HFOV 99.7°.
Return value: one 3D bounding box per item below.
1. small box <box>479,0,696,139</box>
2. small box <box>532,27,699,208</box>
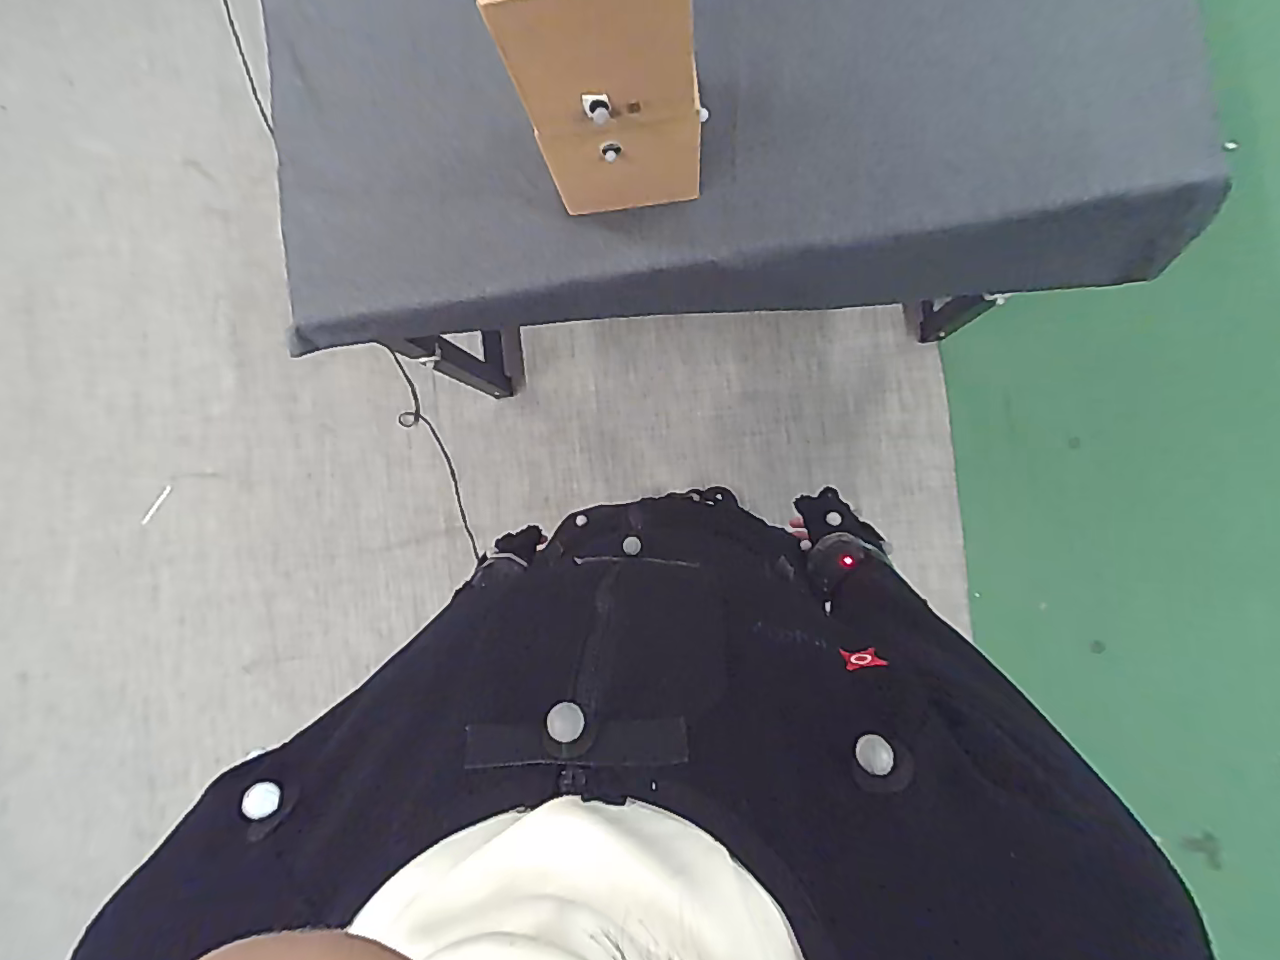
[{"bbox_3d":[-0.040,-0.451,0.484,0.168,0.176,0.179,-5,89,8],"label":"small box"},{"bbox_3d":[-0.021,-0.449,0.644,0.179,0.176,0.168,-4,88,6],"label":"small box"}]
